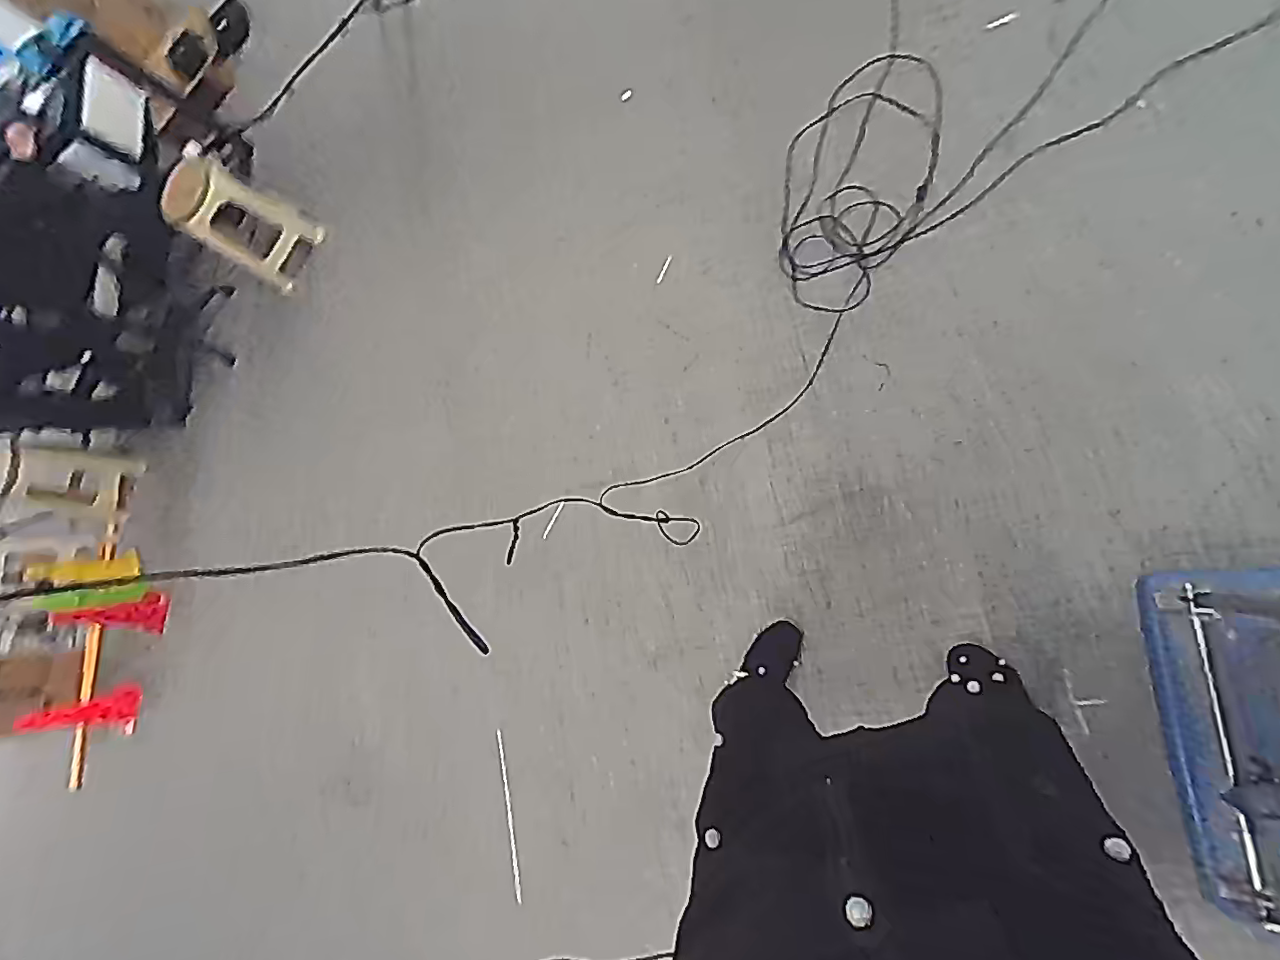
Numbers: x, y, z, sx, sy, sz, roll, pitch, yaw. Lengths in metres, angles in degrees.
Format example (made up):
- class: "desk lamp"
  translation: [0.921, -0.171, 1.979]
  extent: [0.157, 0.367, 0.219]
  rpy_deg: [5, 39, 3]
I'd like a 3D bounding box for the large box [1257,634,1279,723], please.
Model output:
- class: "large box"
  translation: [1.202, 0.372, 0.709]
  extent: [0.408, 0.320, 0.320]
  rpy_deg: [-5, 79, 23]
